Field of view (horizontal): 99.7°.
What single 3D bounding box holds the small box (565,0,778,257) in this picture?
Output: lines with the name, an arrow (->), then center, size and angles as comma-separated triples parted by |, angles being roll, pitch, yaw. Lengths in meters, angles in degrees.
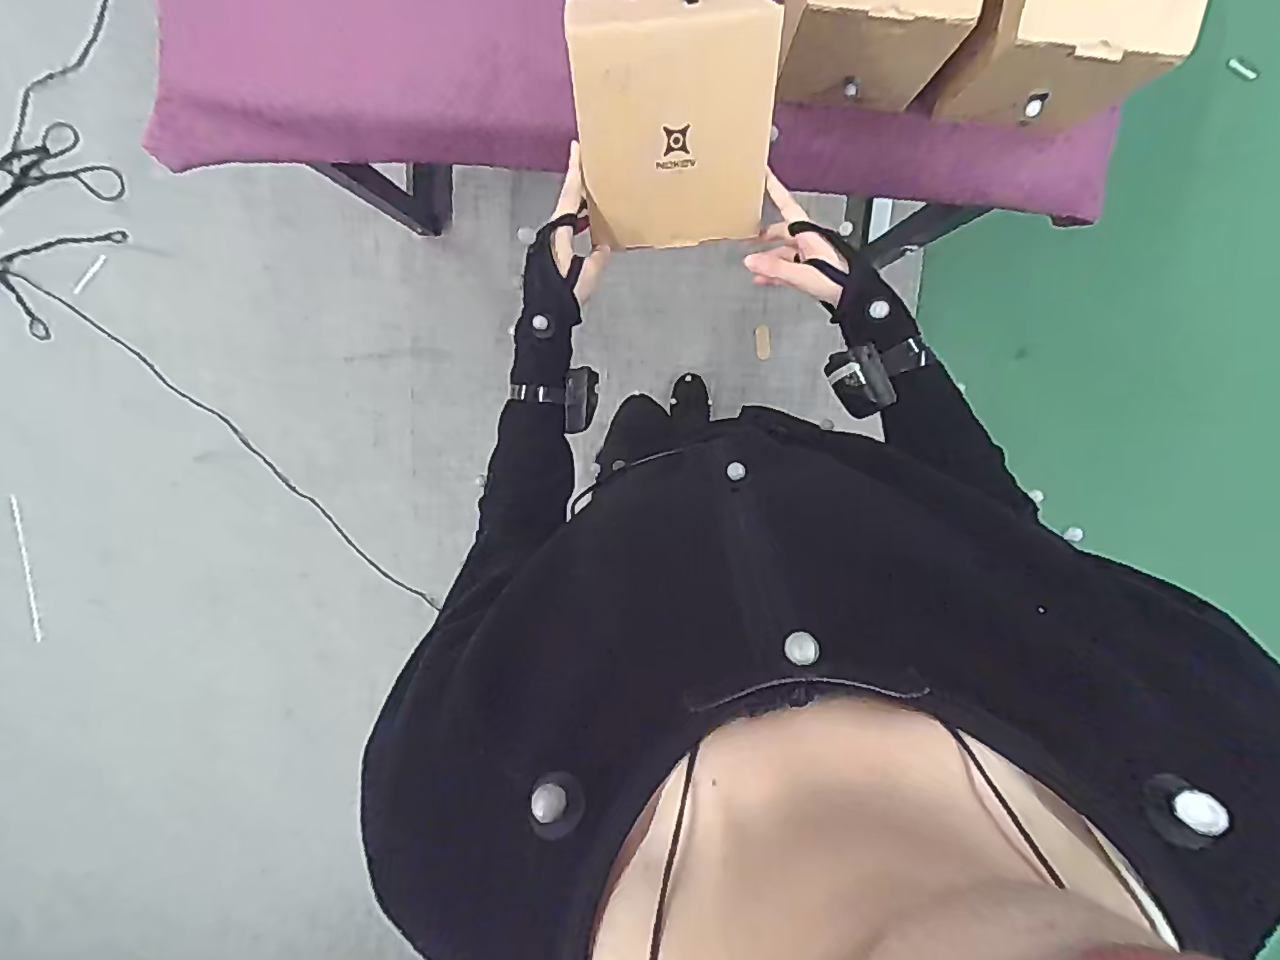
small box -> 0.021, -0.343, 0.517 | 0.168, 0.176, 0.179 | -5, 140, 0
